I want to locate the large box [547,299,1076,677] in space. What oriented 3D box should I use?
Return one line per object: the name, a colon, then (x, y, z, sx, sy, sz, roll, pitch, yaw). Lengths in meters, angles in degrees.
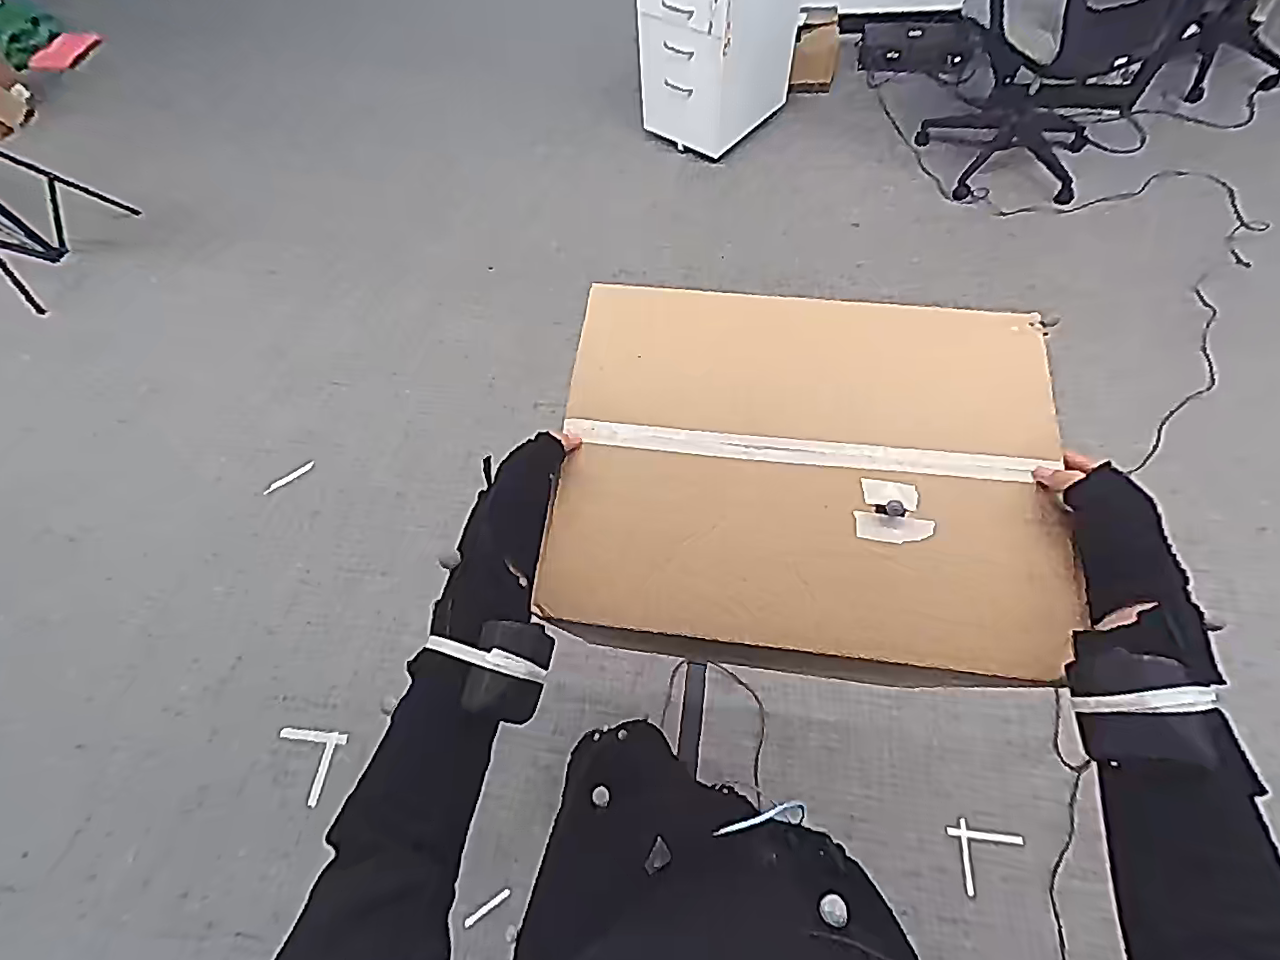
large box: (0.142, 0.034, 0.596, 0.408, 0.320, 0.320, 6, 71, 4)
